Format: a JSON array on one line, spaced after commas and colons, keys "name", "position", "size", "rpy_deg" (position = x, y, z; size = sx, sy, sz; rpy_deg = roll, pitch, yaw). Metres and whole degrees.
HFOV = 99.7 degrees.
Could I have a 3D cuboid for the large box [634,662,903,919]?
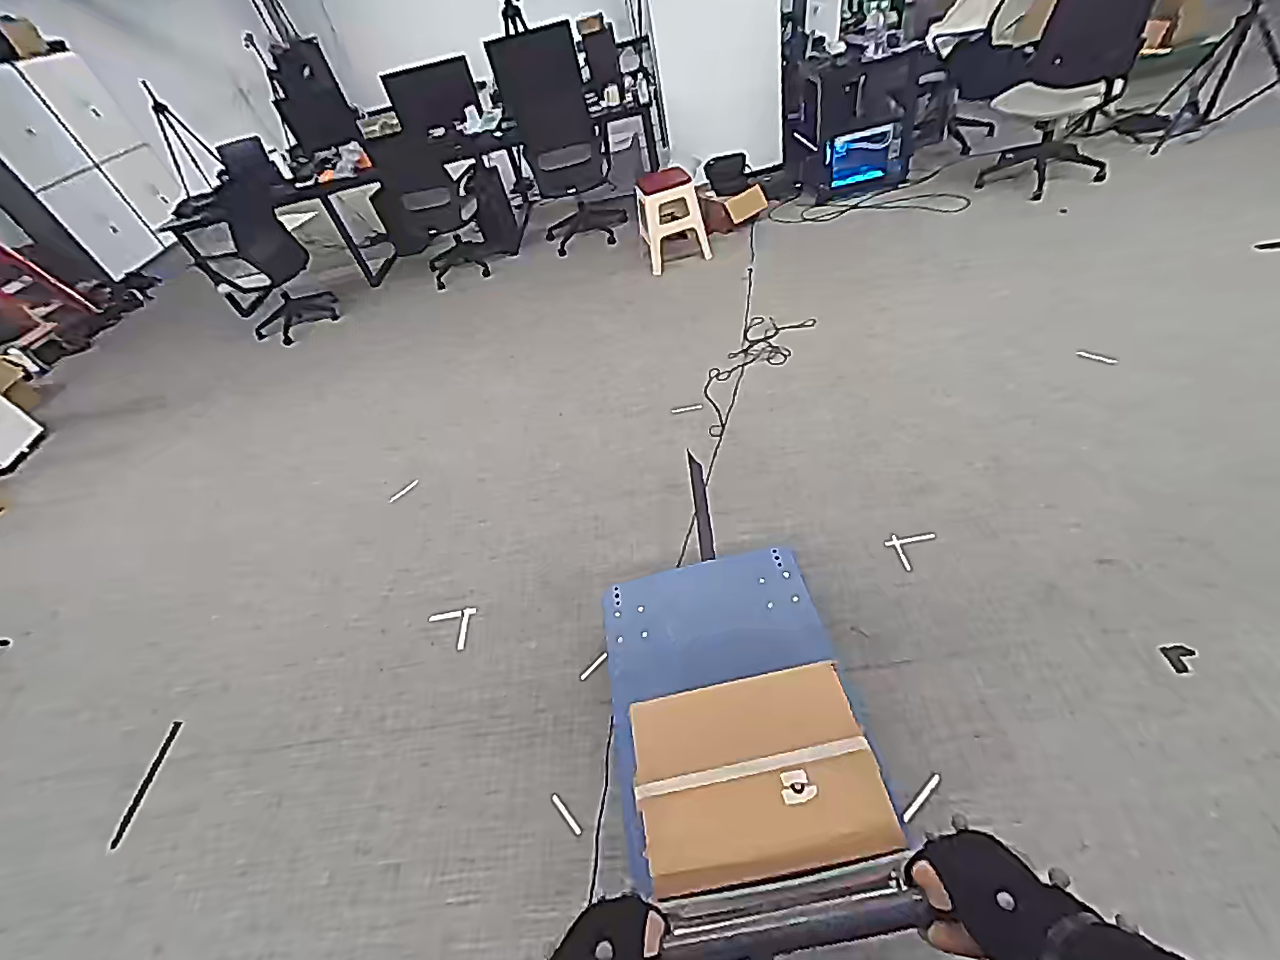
[{"name": "large box", "position": [0.228, 0.611, 1.061], "size": [0.408, 0.320, 0.320], "rpy_deg": [-14, 46, 2]}]
